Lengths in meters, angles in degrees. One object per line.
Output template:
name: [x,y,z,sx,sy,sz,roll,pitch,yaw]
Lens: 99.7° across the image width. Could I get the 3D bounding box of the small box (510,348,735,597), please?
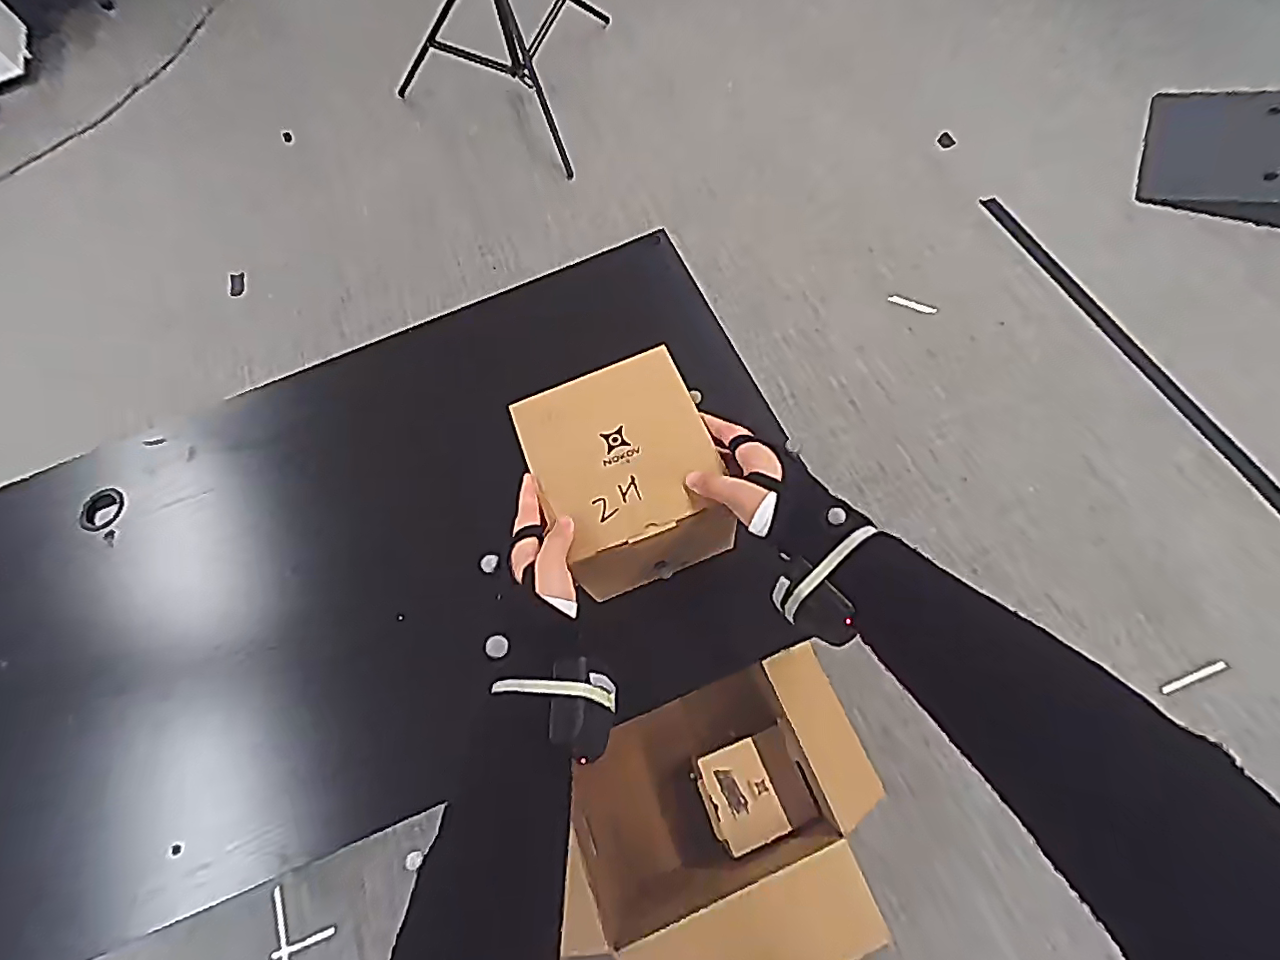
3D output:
small box: [-0.014,0.002,0.563,0.168,0.176,0.179,-22,67,-2]
